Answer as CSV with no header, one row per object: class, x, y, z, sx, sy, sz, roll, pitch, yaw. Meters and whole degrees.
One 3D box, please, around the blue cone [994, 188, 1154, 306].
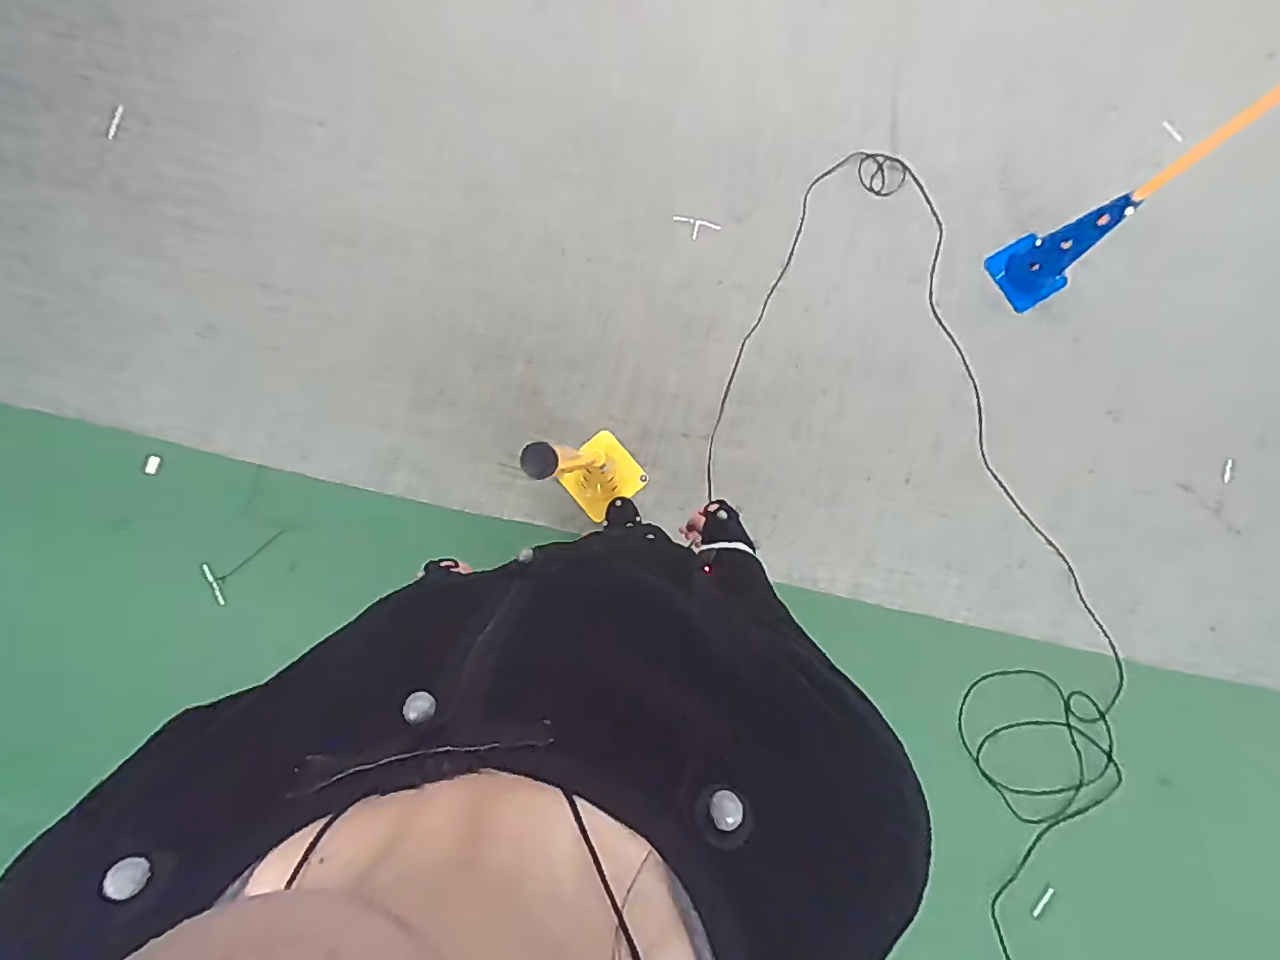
blue cone,1.190,-0.662,1.469,0.193,0.380,0.192,-32,85,-8
